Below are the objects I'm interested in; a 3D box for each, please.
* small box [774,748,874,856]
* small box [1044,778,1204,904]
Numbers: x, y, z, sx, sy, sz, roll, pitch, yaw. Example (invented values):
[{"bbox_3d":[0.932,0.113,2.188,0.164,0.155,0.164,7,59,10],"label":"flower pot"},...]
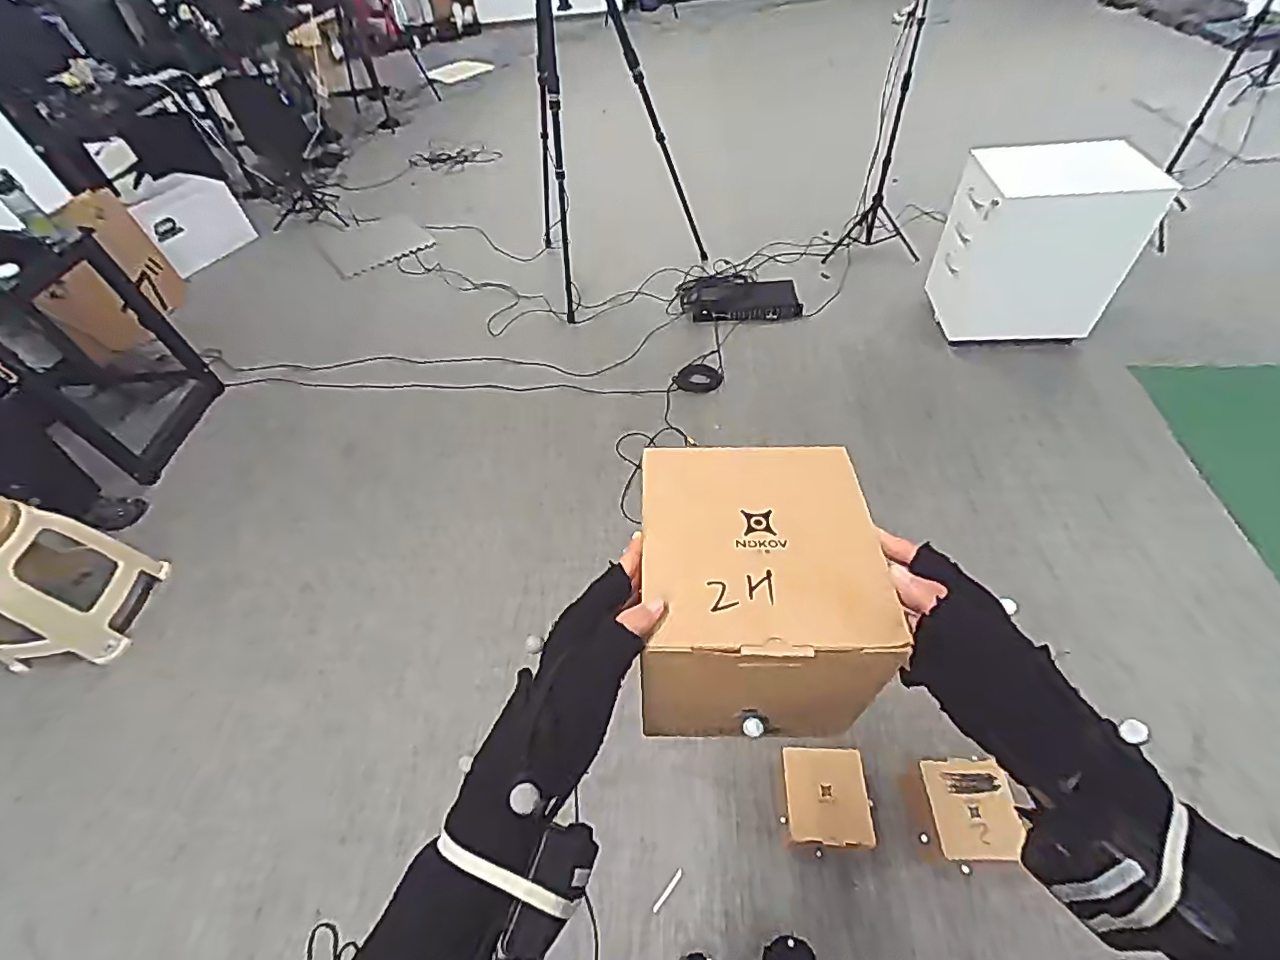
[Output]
[{"bbox_3d":[0.390,0.705,1.183,0.168,0.176,0.179,-1,50,6],"label":"small box"},{"bbox_3d":[0.953,0.732,1.092,0.179,0.176,0.168,11,53,14],"label":"small box"}]
